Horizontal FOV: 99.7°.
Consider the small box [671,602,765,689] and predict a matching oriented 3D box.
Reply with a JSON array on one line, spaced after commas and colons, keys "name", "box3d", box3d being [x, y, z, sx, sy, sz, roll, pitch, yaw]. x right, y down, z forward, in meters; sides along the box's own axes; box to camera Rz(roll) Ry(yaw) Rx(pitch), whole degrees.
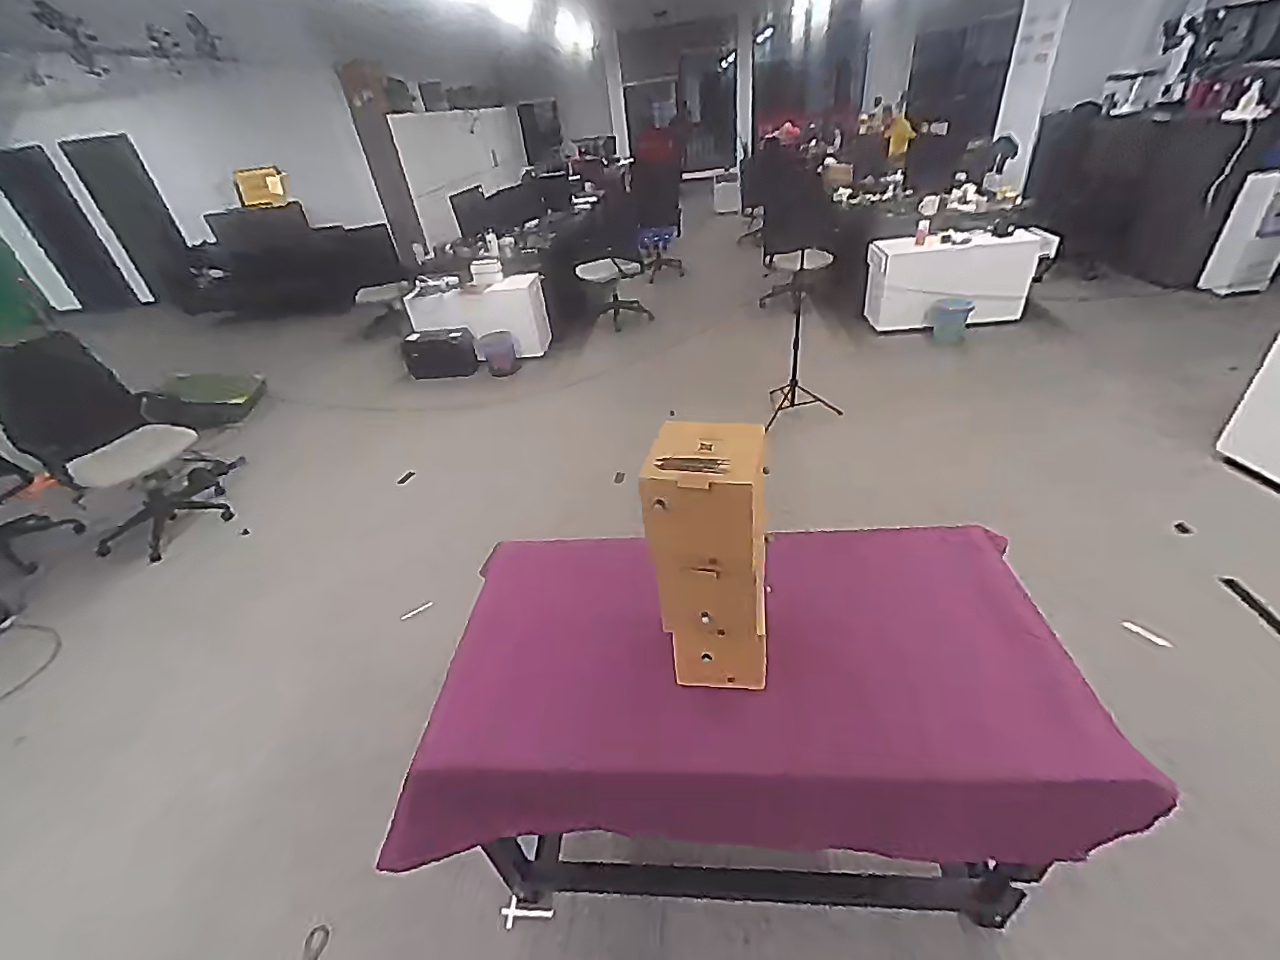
[{"name": "small box", "box3d": [0.158, 0.284, 1.055, 0.168, 0.176, 0.179, -1, 34, 11]}]

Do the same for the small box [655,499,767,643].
[{"name": "small box", "box3d": [0.132, 0.156, 0.954, 0.168, 0.176, 0.179, 3, 36, 17]}]
